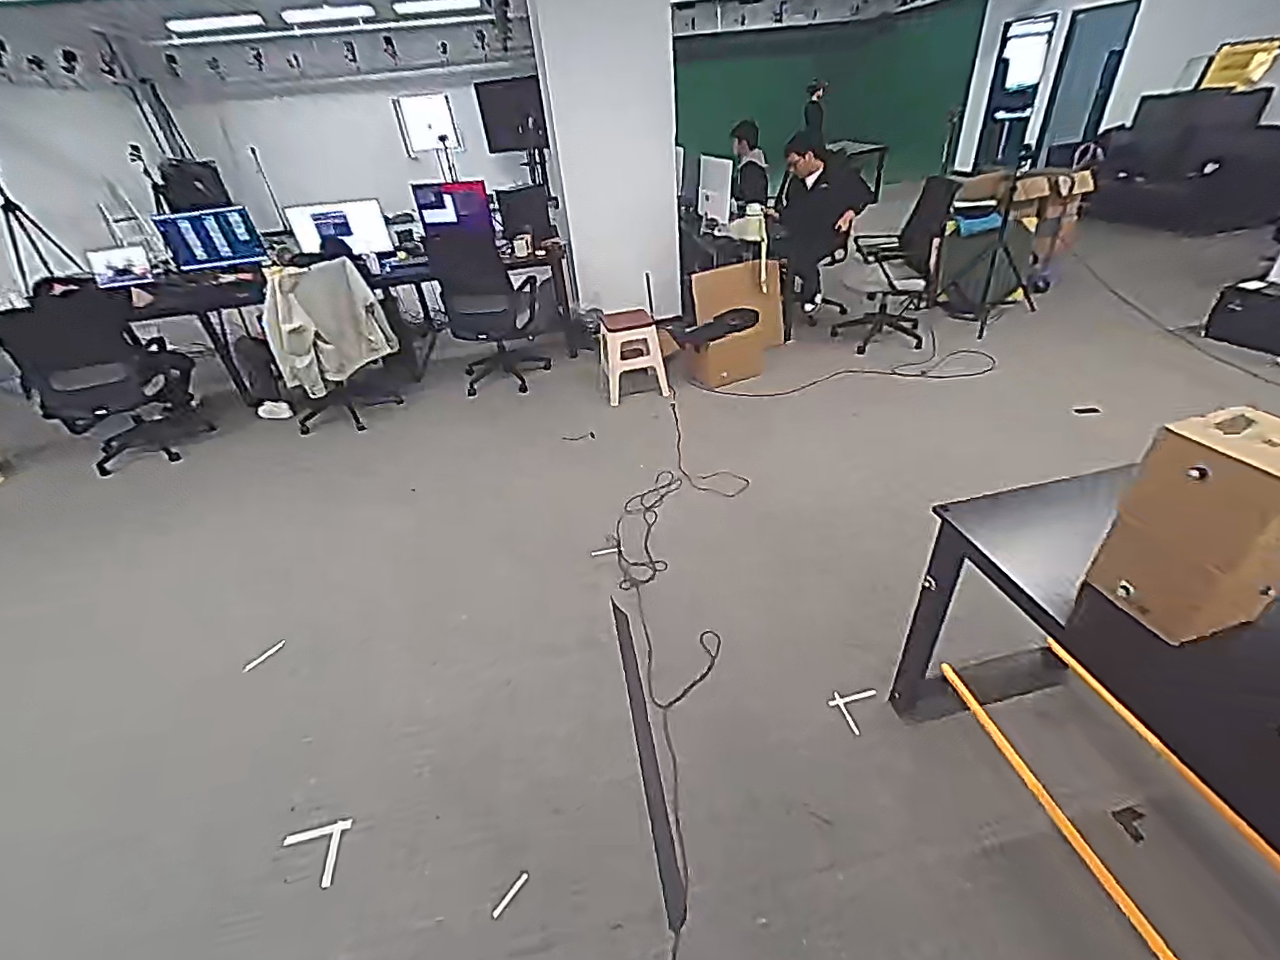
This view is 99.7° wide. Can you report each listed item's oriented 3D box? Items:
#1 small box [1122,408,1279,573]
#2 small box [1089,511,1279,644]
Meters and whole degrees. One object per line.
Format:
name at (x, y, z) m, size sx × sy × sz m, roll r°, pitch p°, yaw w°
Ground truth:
small box at (0.909, 0.013, 0.829) m, size 0.168 × 0.176 × 0.179 m, roll -13°, pitch 35°, yaw -10°
small box at (0.927, 0.148, 0.921) m, size 0.179 × 0.176 × 0.168 m, roll -14°, pitch 34°, yaw -9°
